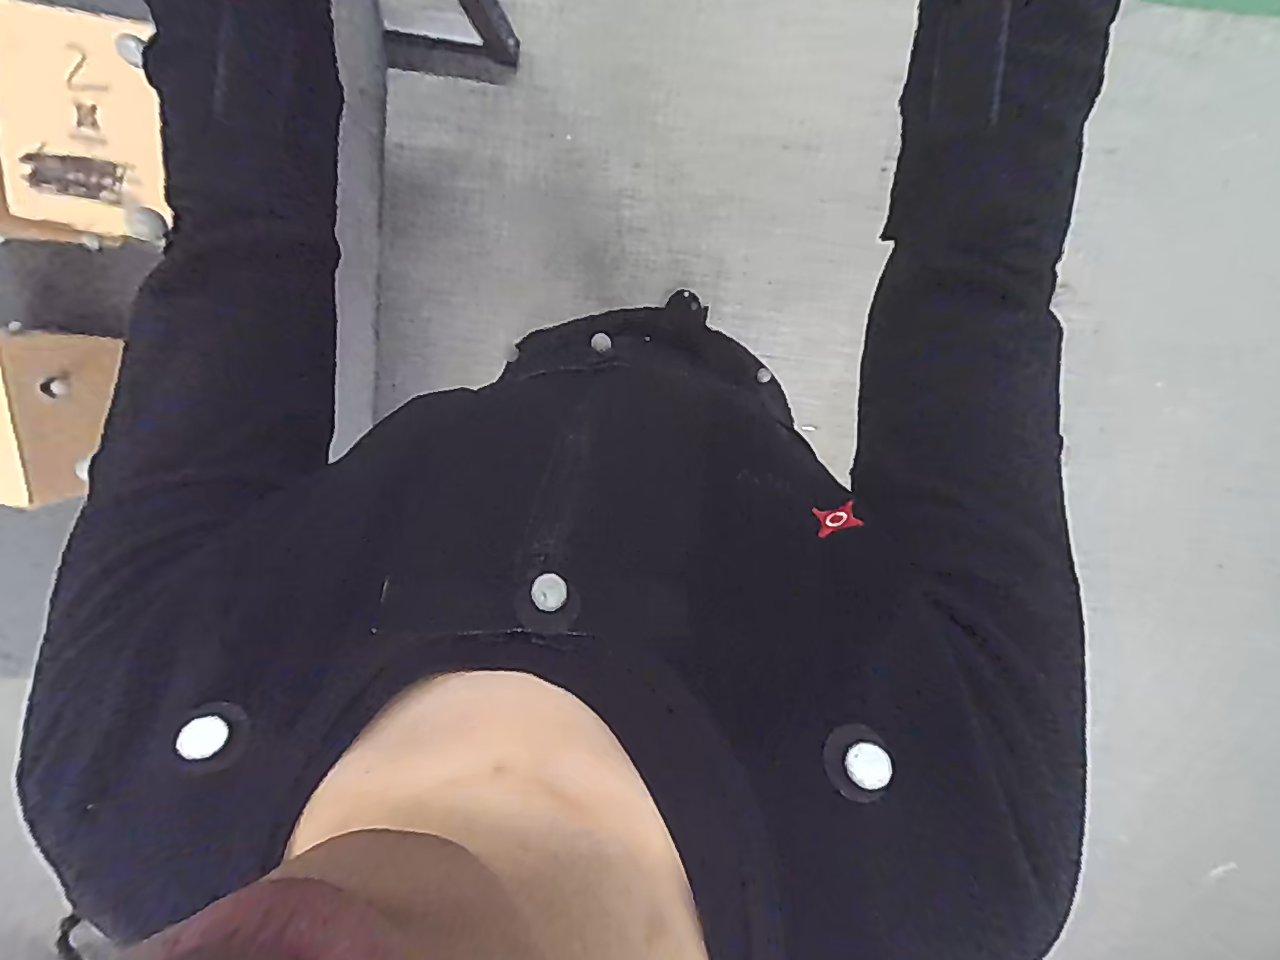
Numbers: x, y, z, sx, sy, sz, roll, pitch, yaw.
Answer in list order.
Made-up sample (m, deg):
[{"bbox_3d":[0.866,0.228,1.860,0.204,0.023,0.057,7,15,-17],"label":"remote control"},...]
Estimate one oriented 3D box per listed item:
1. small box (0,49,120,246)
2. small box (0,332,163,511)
[{"bbox_3d":[-0.710,-0.353,0.563,0.168,0.176,0.179,5,108,1],"label":"small box"},{"bbox_3d":[-0.725,-0.079,0.641,0.168,0.176,0.179,6,107,1],"label":"small box"}]
